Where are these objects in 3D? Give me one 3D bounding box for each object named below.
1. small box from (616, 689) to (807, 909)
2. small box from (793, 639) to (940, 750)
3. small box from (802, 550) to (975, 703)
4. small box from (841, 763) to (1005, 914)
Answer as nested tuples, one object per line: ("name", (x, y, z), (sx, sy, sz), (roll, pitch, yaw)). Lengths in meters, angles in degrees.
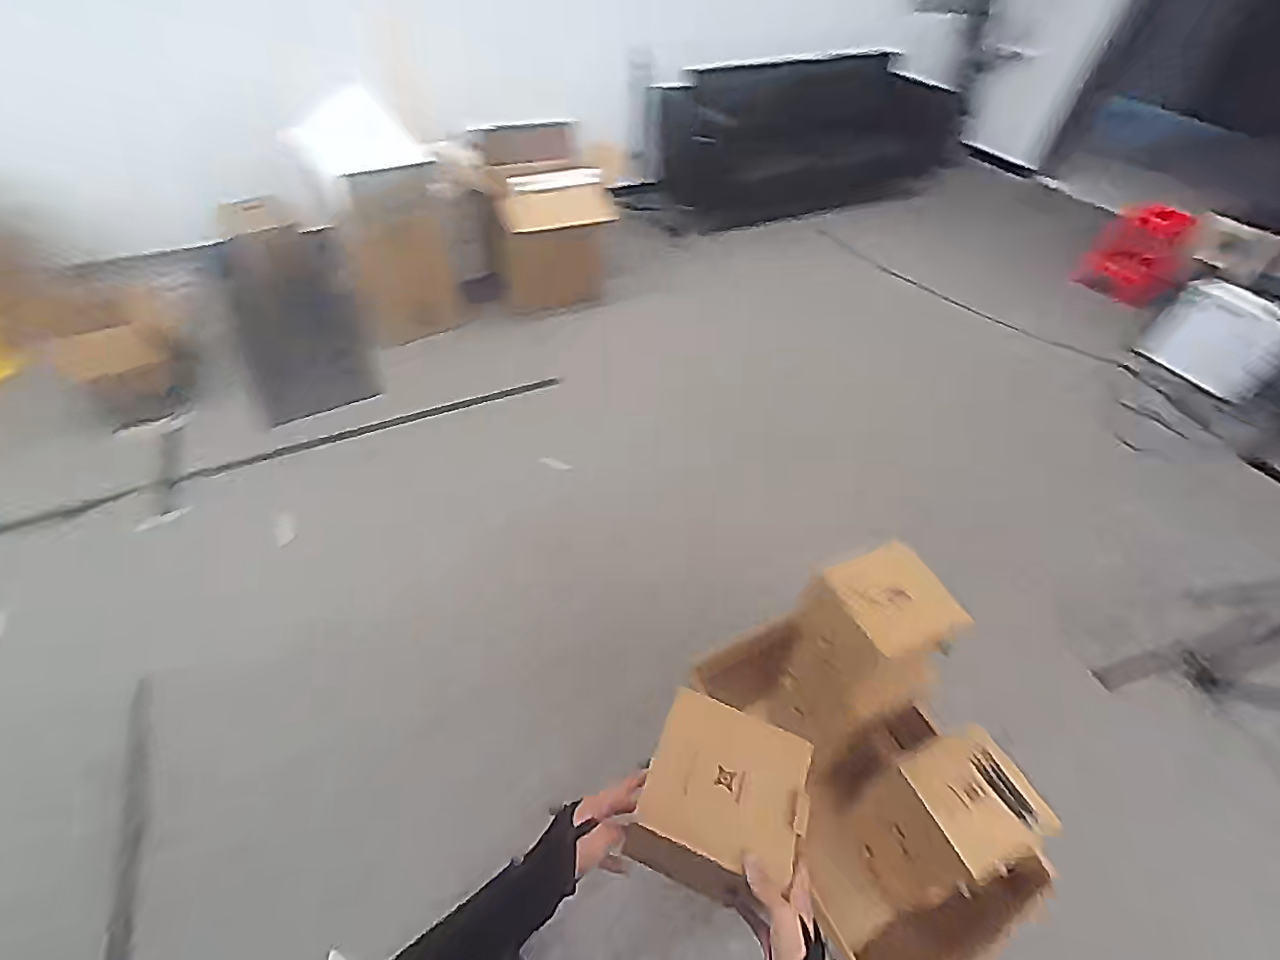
("small box", (0.085, 0.400, 0.674), (0.179, 0.176, 0.168), (20, 45, 10))
("small box", (0.409, 0.380, 1.020), (0.179, 0.176, 0.168), (-14, 51, -17))
("small box", (0.405, 0.249, 0.917), (0.179, 0.176, 0.168), (-14, 50, -16))
("small box", (0.506, 0.659, 0.994), (0.179, 0.176, 0.168), (-17, 50, -18))
